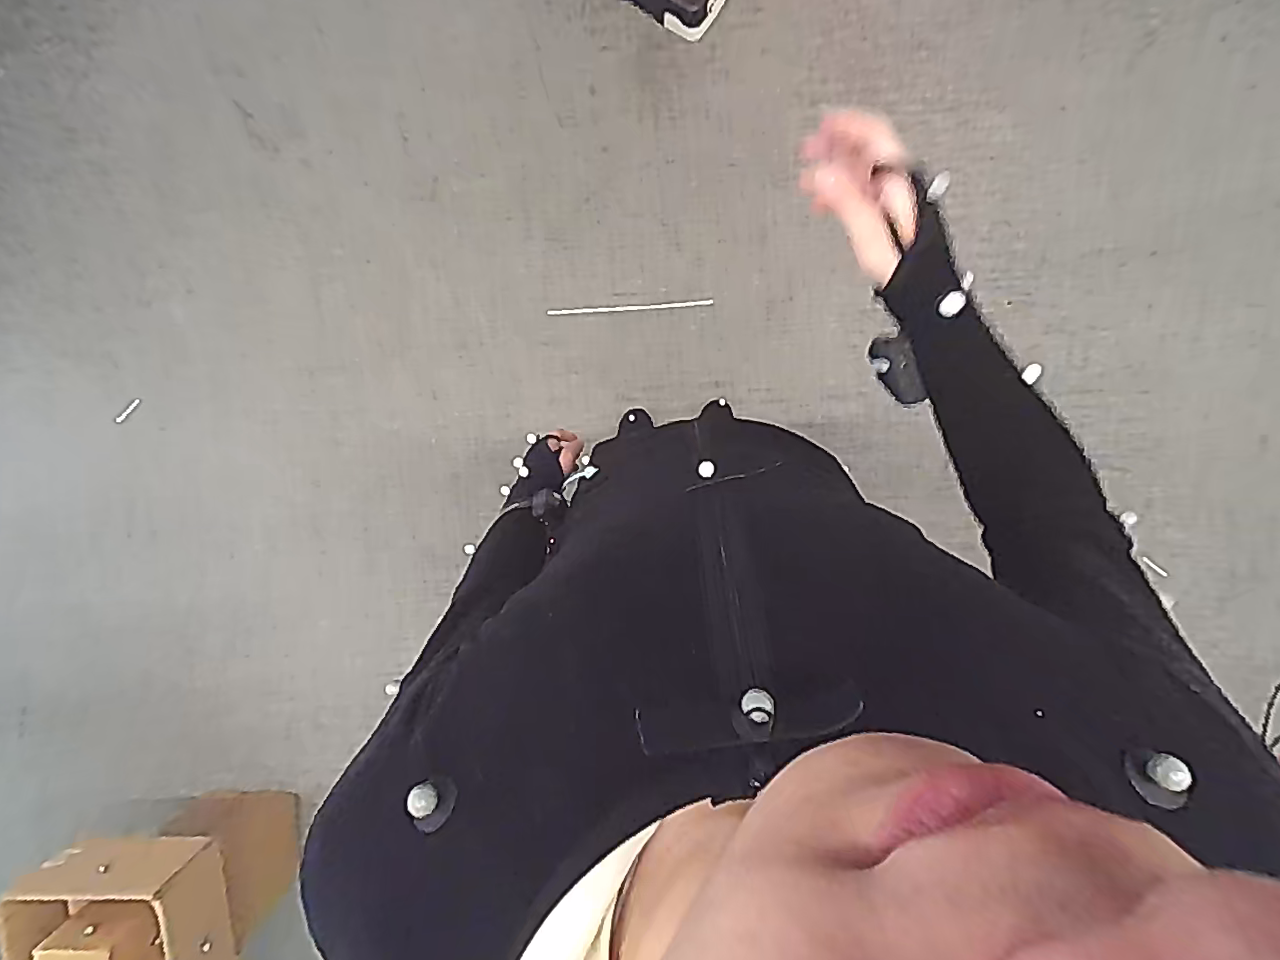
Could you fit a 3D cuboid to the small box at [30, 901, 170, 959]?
[{"bbox_3d":[-1.292,1.156,1.299,0.179,0.176,0.168,-1,95,1],"label":"small box"}]
